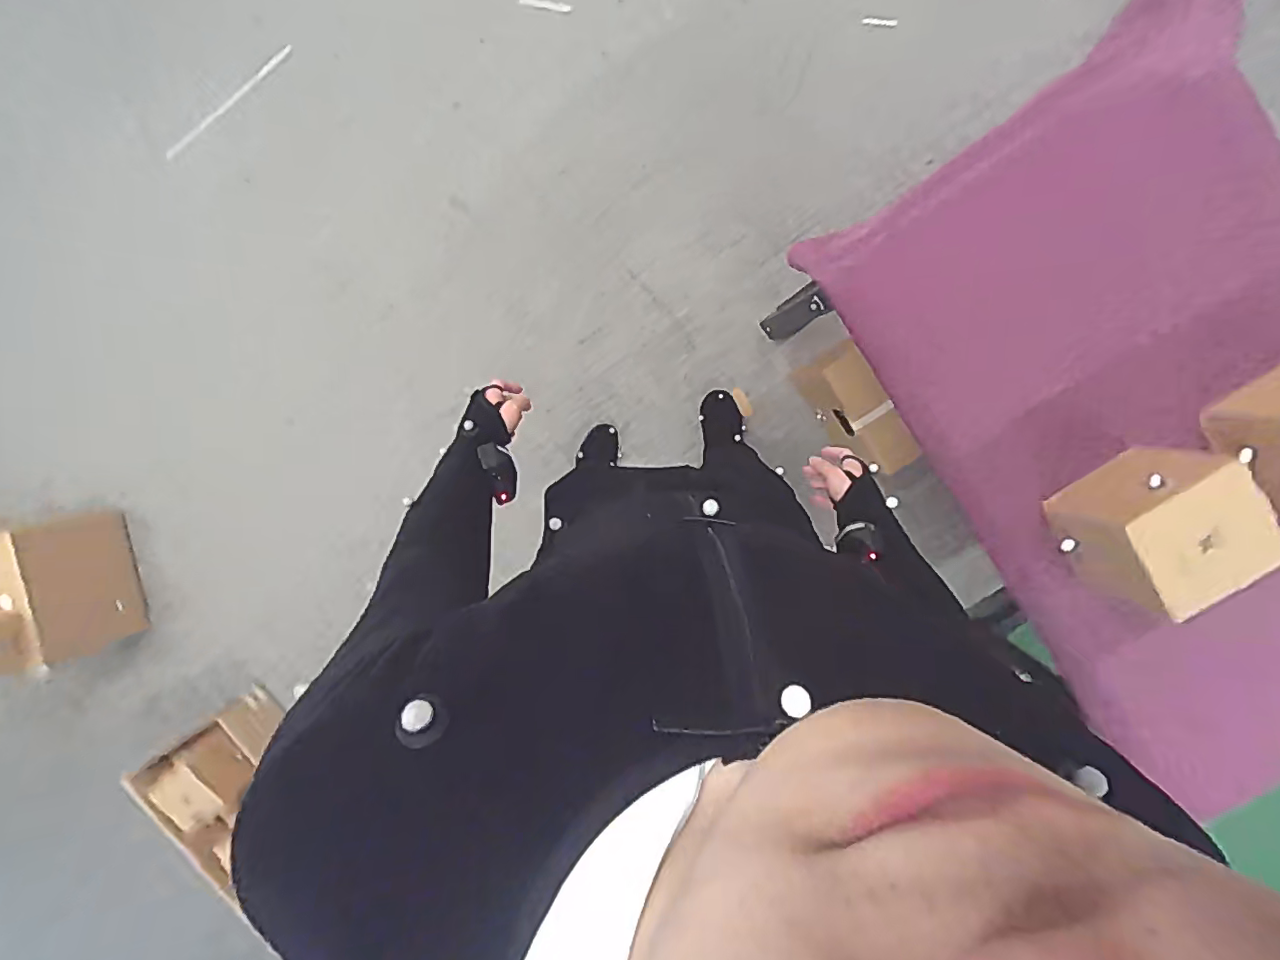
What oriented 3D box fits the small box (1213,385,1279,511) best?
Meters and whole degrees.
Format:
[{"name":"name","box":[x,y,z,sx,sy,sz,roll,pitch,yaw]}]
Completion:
[{"name":"small box","box":[0.999,-0.056,0.764,0.179,0.176,0.168,-32,97,8]}]

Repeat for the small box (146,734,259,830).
[{"name":"small box","box":[-1.356,0.929,1.687,0.168,0.176,0.179,-37,97,6]}]

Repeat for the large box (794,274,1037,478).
[{"name":"large box","box":[0.684,-0.257,1.411,0.408,0.320,0.320,-34,97,6]}]

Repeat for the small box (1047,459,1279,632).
[{"name":"small box","box":[0.763,0.083,0.793,0.179,0.176,0.168,-32,96,6]}]
